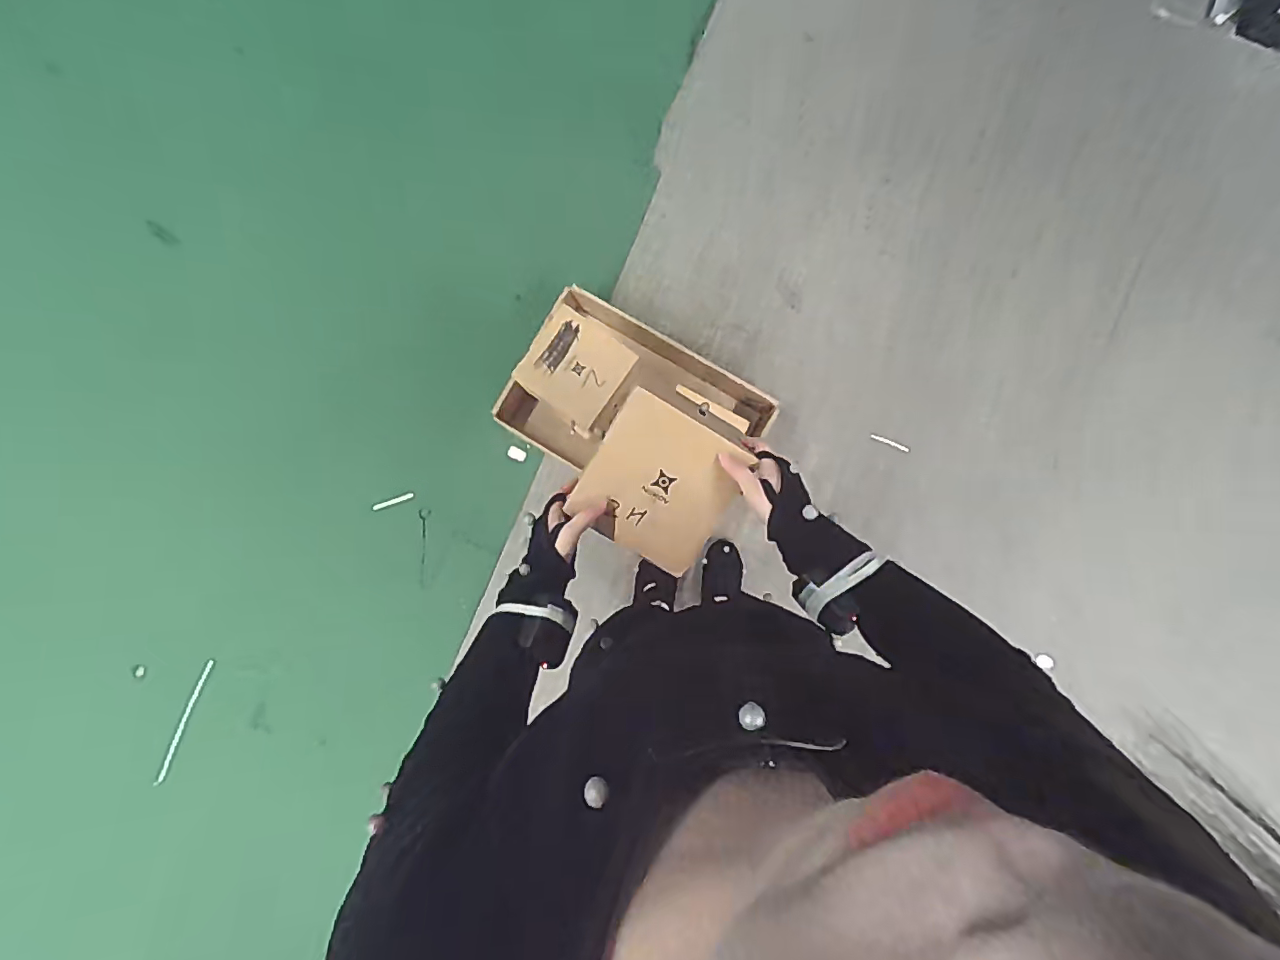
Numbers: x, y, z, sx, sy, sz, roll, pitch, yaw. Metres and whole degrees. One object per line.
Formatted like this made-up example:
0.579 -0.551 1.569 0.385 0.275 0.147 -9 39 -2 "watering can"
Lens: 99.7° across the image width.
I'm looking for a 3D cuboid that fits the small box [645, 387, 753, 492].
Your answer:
0.129 -0.085 1.212 0.179 0.176 0.168 29 90 4 "small box"
